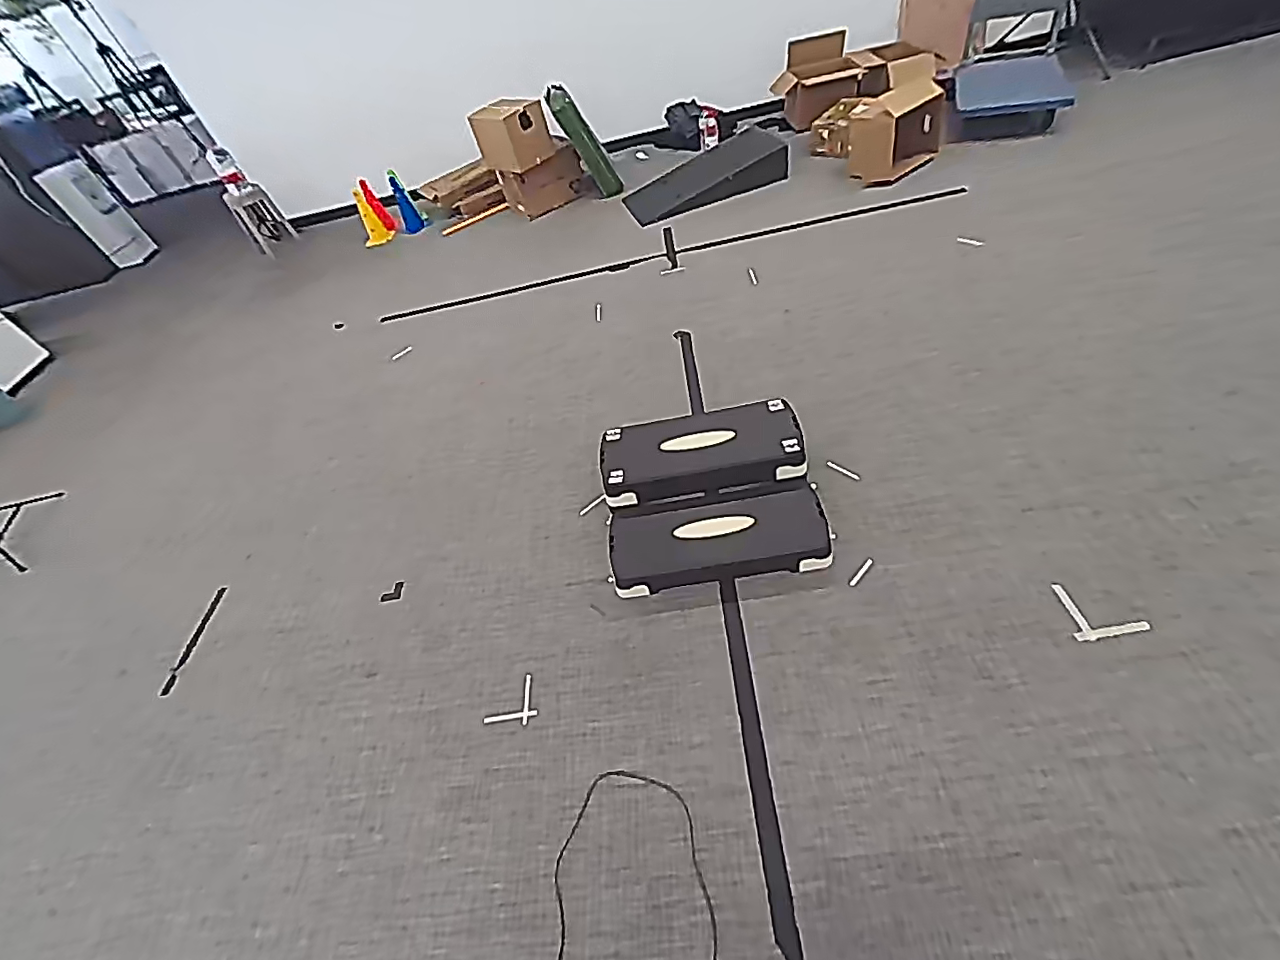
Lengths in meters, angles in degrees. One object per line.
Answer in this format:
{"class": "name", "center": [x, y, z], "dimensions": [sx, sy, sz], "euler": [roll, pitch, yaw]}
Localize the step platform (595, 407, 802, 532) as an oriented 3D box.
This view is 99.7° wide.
{"class": "step platform", "center": [0.189, -0.040, 1.832], "dimensions": [0.684, 0.204, 0.286], "euler": [-10, 48, 5]}
